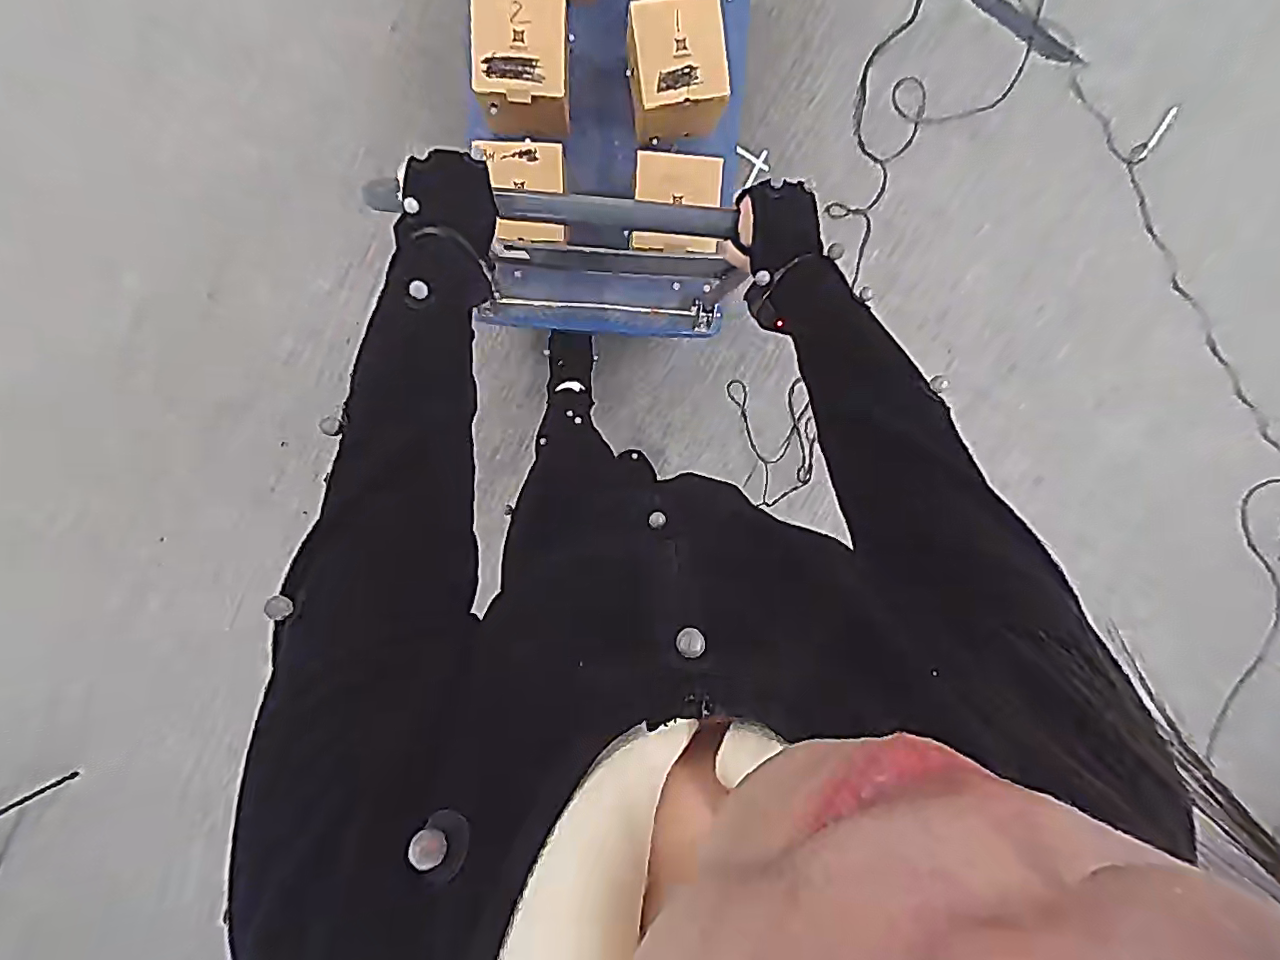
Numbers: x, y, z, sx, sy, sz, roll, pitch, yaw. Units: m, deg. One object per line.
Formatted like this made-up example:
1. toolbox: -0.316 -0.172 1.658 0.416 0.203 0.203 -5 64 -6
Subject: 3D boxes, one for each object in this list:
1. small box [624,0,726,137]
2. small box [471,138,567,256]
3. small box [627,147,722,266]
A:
1. small box: 0.064 -0.803 1.062 0.168 0.176 0.179 -10 101 -3
2. small box: -0.234 -0.556 1.085 0.168 0.176 0.179 -1 101 -5
3. small box: 0.063 -0.550 1.112 0.168 0.176 0.179 3 100 -6
